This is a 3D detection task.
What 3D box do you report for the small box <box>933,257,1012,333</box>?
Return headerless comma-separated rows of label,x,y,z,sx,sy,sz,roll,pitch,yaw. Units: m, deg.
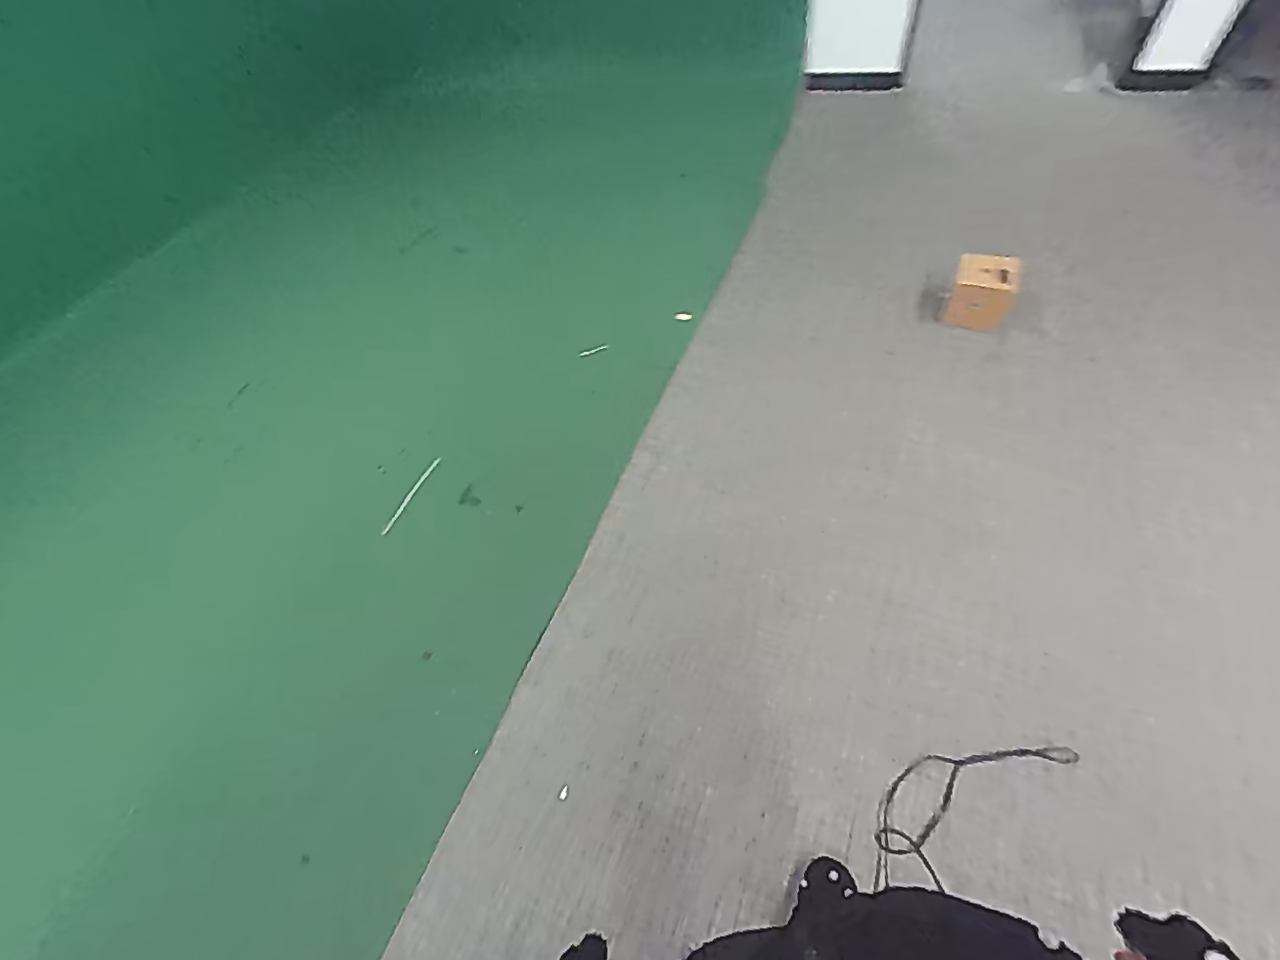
small box,1.112,-0.617,1.811,0.179,0.176,0.168,14,61,18
